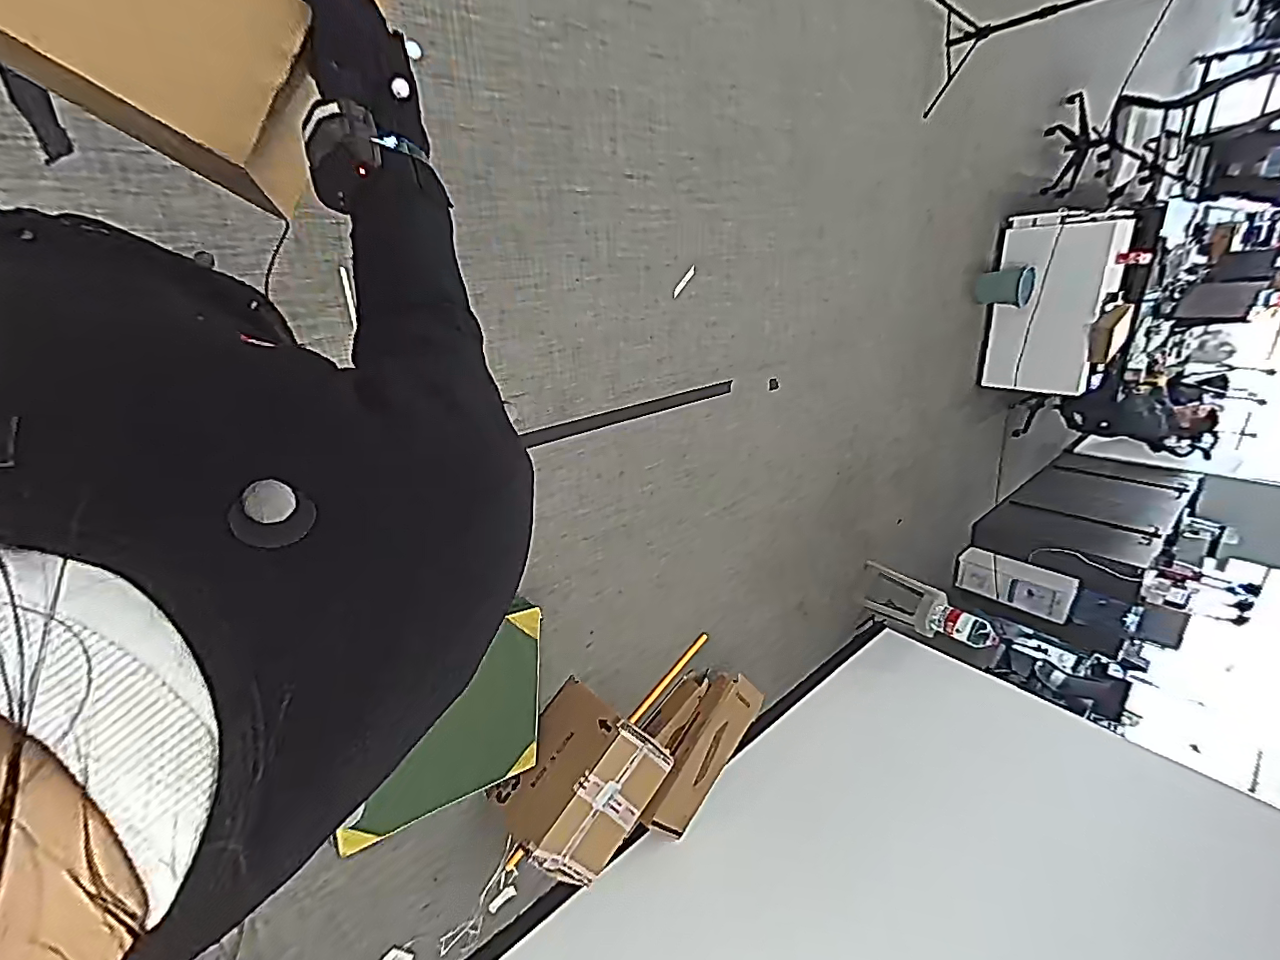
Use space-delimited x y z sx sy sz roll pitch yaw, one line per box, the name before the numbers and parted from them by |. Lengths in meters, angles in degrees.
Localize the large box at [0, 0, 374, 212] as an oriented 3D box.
large box | -0.472 -0.494 0.448 0.408 0.320 0.320 23 95 -33
